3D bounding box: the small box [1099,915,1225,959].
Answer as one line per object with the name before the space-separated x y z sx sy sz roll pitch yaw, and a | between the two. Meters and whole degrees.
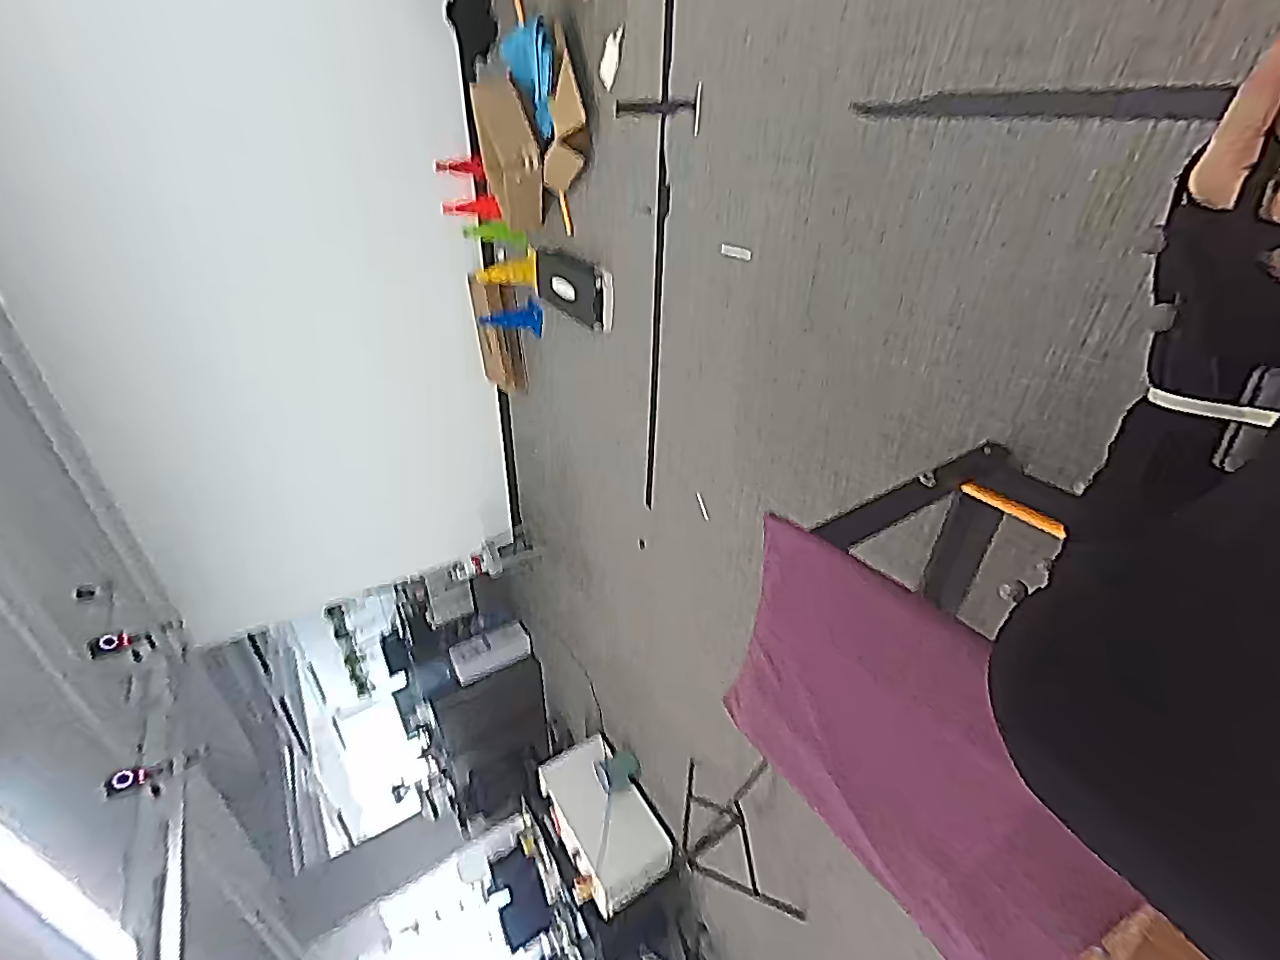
small box | 0.593 0.631 0.576 0.179 0.176 0.168 40 138 44
